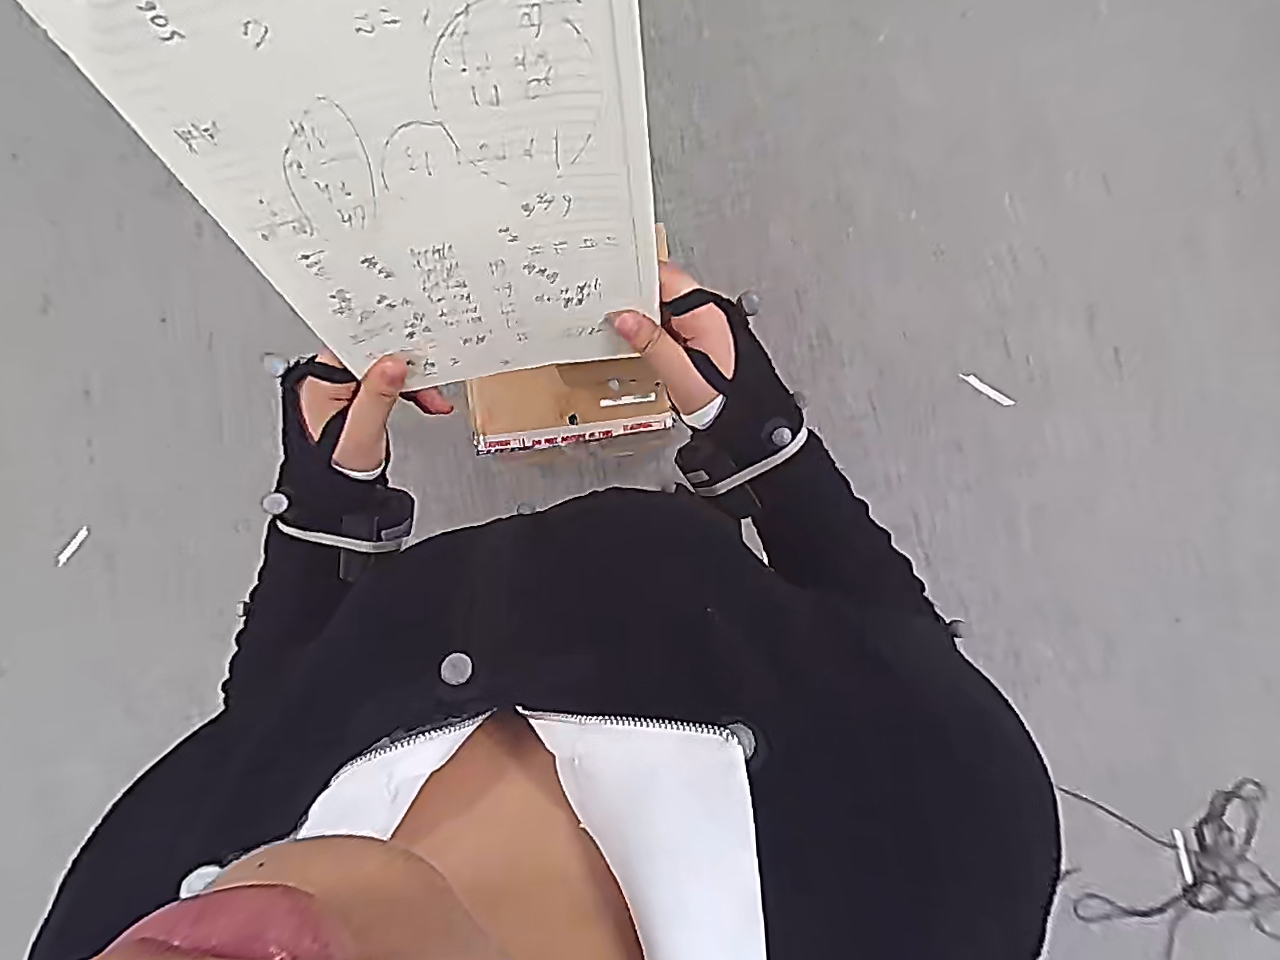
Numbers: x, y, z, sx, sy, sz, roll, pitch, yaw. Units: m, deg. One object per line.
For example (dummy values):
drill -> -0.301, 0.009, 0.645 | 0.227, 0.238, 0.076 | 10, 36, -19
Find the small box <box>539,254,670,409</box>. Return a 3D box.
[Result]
small box -> -0.051, -0.209, 0.801 | 0.168, 0.176, 0.179 | -5, 90, -2

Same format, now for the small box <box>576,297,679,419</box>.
small box -> -0.036, -0.211, 0.966 | 0.179, 0.176, 0.168 | -9, 89, -1
